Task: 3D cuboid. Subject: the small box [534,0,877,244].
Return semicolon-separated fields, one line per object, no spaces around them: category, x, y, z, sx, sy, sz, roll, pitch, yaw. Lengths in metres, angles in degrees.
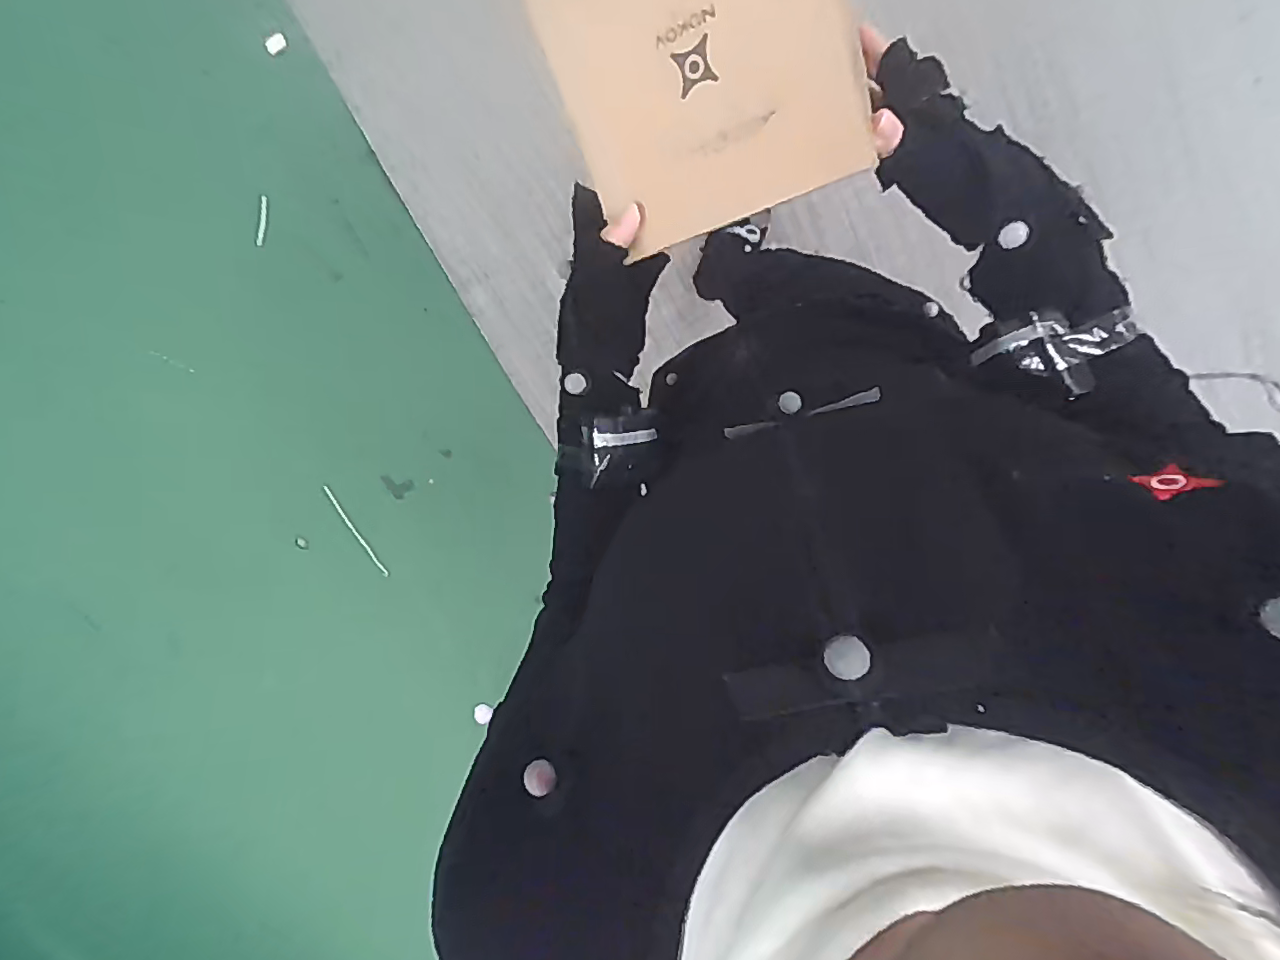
small box;0.056;-0.284;0.362;0.168;0.176;0.179;-9;117;29
